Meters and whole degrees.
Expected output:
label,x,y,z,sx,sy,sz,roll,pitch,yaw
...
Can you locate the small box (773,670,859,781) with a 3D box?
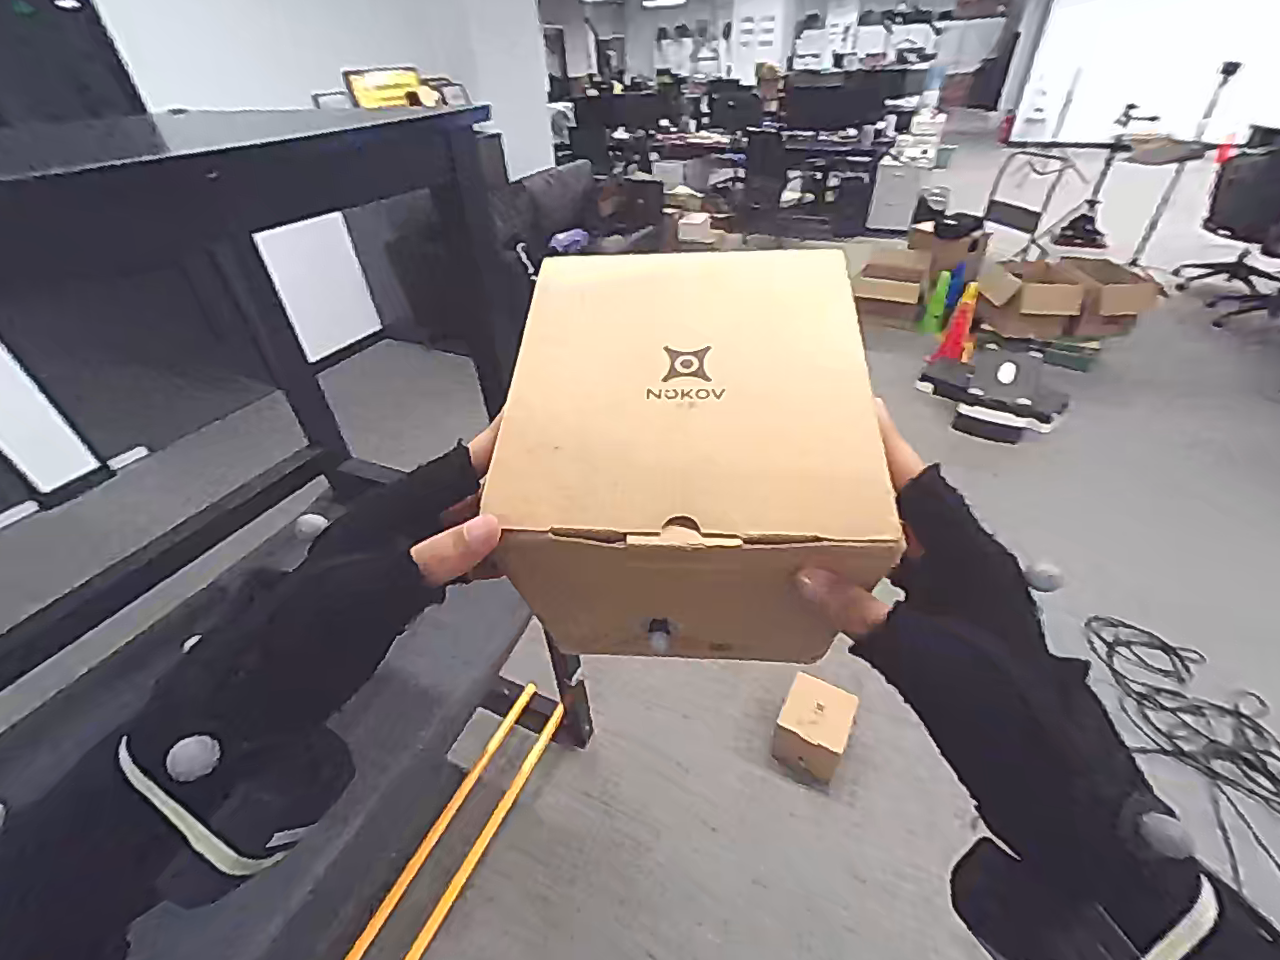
label,x,y,z,sx,sy,sz,roll,pitch,yaw
small box,0.465,0.654,1.441,0.168,0.176,0.179,18,43,26
